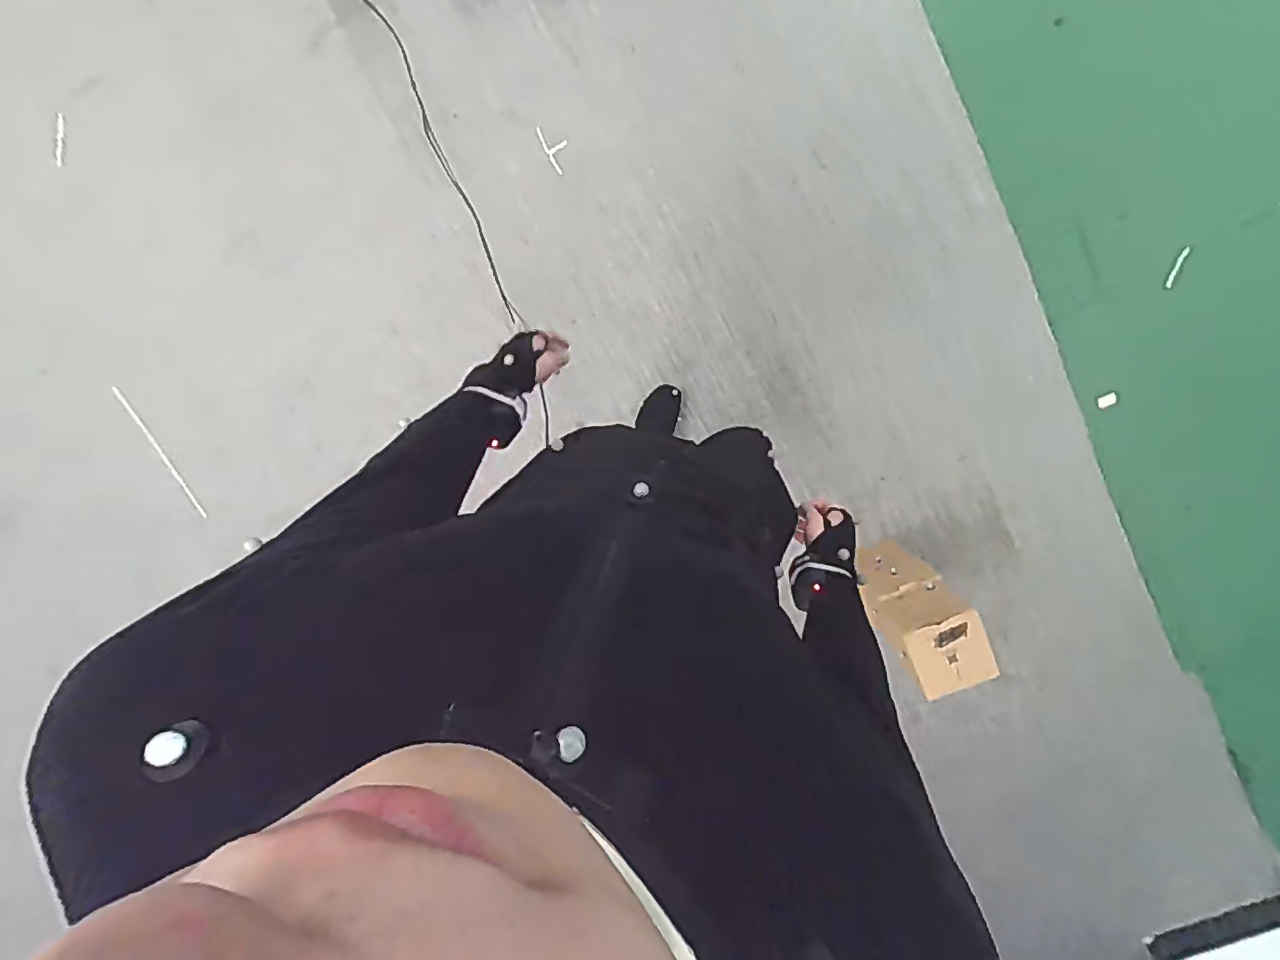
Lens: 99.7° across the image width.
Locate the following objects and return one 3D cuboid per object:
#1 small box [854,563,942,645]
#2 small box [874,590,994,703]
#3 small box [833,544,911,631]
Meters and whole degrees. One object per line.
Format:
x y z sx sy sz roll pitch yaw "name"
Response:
0.688 0.333 1.420 0.168 0.176 0.179 -22 98 7 "small box"
0.674 0.376 1.262 0.168 0.176 0.179 -23 99 7 "small box"
0.693 0.306 1.581 0.179 0.176 0.168 -21 99 7 "small box"
